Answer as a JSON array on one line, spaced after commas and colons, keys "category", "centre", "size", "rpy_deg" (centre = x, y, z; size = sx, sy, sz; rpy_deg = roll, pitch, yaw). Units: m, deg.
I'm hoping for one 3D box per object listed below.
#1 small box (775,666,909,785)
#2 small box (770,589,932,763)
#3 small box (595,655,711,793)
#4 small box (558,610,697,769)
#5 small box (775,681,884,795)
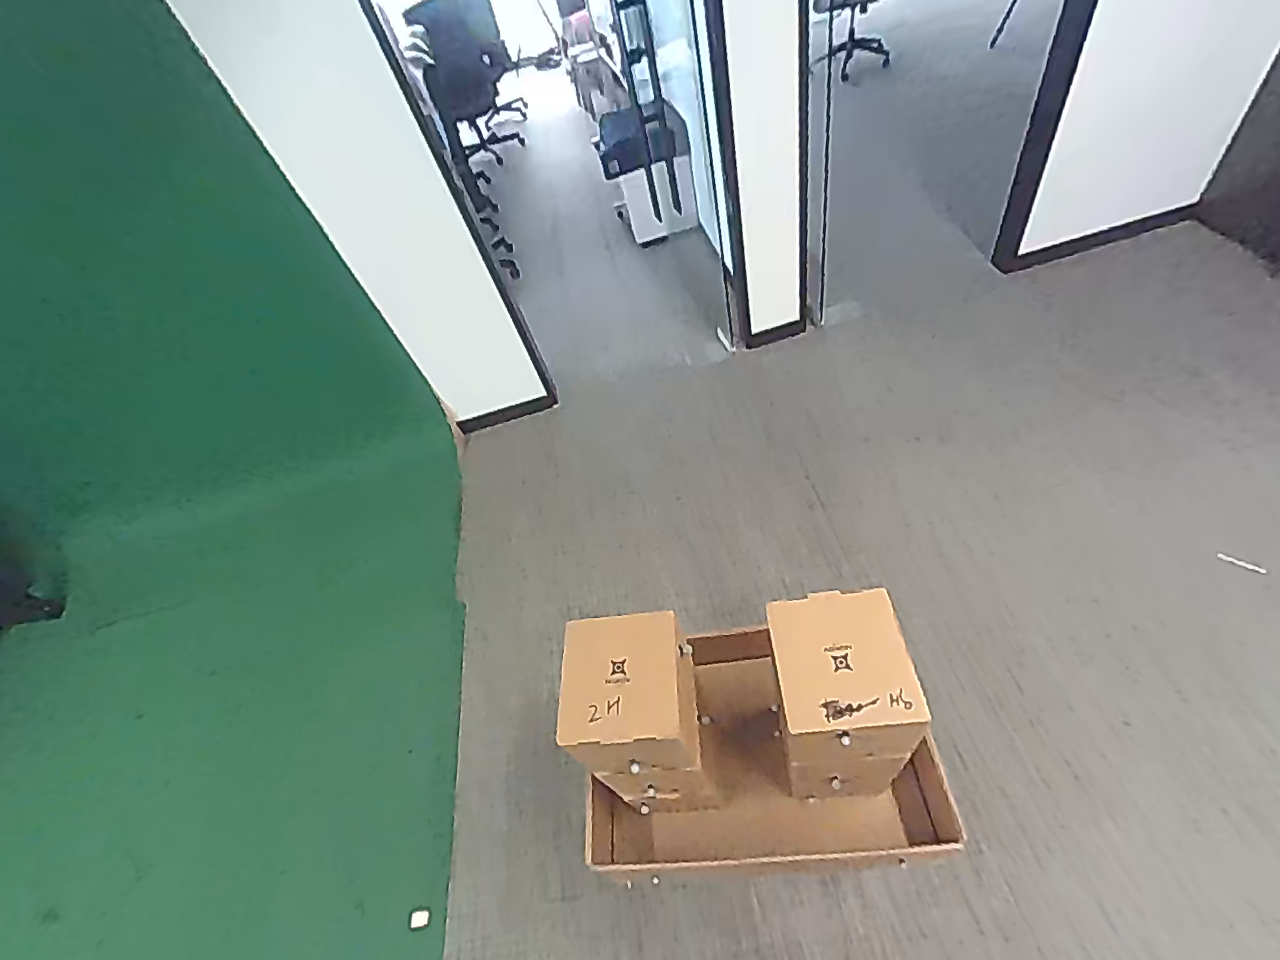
[{"category": "small box", "centre": [0.313, 0.378, 0.876], "size": [0.168, 0.176, 0.179], "rpy_deg": [-9, 50, 10]}, {"category": "small box", "centre": [0.278, 0.275, 0.753], "size": [0.168, 0.176, 0.179], "rpy_deg": [-10, 49, 10]}, {"category": "small box", "centre": [0.027, 0.420, 0.928], "size": [0.168, 0.176, 0.179], "rpy_deg": [-8, 50, 10]}, {"category": "small box", "centre": [-0.010, 0.315, 0.806], "size": [0.168, 0.176, 0.179], "rpy_deg": [-8, 50, 11]}, {"category": "small box", "centre": [0.349, 0.475, 1.002], "size": [0.168, 0.176, 0.179], "rpy_deg": [-8, 49, 10]}]
